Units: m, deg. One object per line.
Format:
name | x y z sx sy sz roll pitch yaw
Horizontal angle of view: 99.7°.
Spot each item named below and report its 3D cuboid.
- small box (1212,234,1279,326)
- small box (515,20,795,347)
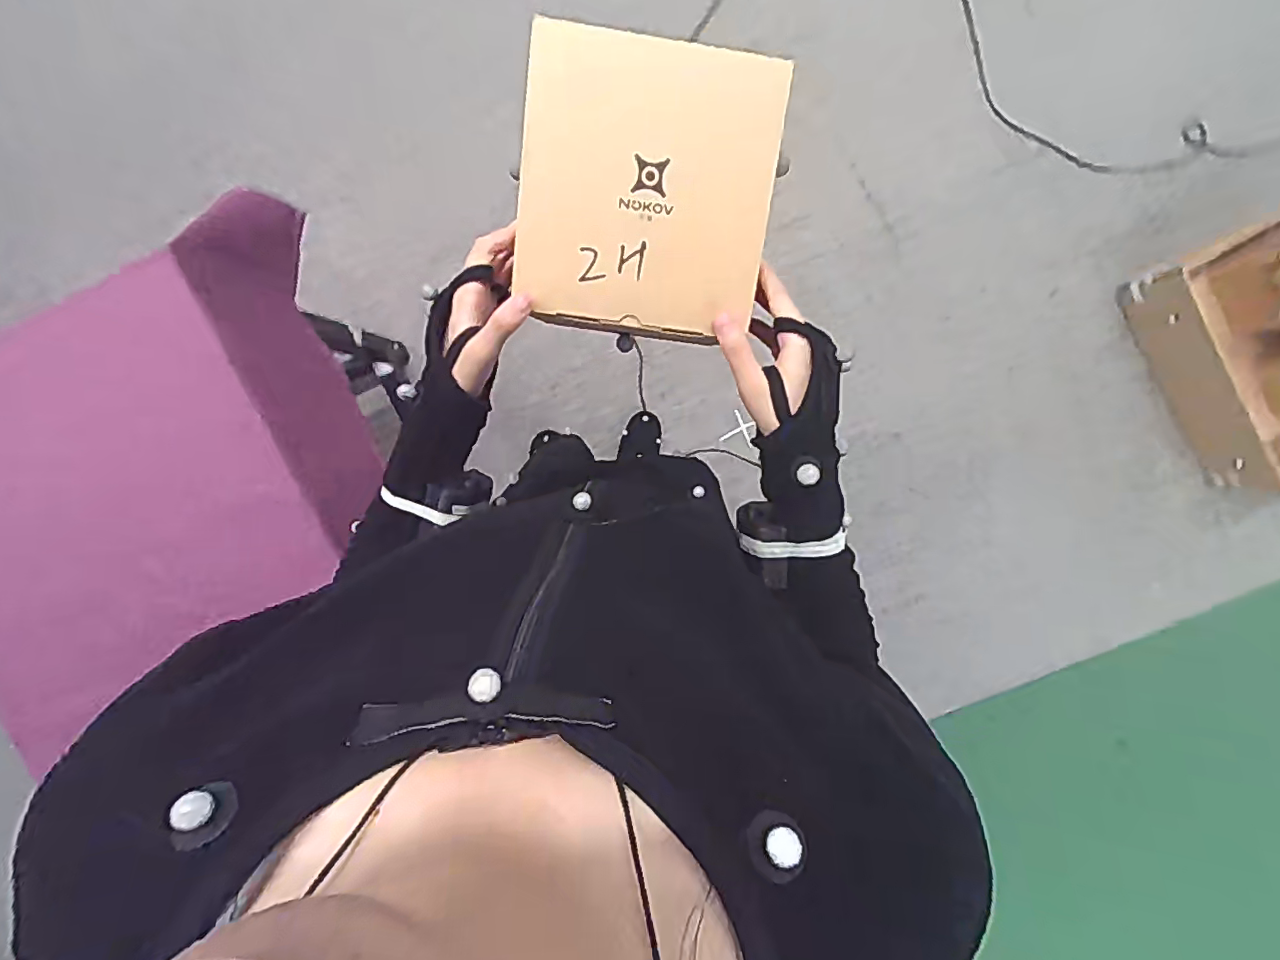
small box | 1.532 -0.485 1.278 0.168 0.176 0.179 -30 96 6
small box | 0.004 -0.209 0.437 0.168 0.176 0.179 9 104 -4
